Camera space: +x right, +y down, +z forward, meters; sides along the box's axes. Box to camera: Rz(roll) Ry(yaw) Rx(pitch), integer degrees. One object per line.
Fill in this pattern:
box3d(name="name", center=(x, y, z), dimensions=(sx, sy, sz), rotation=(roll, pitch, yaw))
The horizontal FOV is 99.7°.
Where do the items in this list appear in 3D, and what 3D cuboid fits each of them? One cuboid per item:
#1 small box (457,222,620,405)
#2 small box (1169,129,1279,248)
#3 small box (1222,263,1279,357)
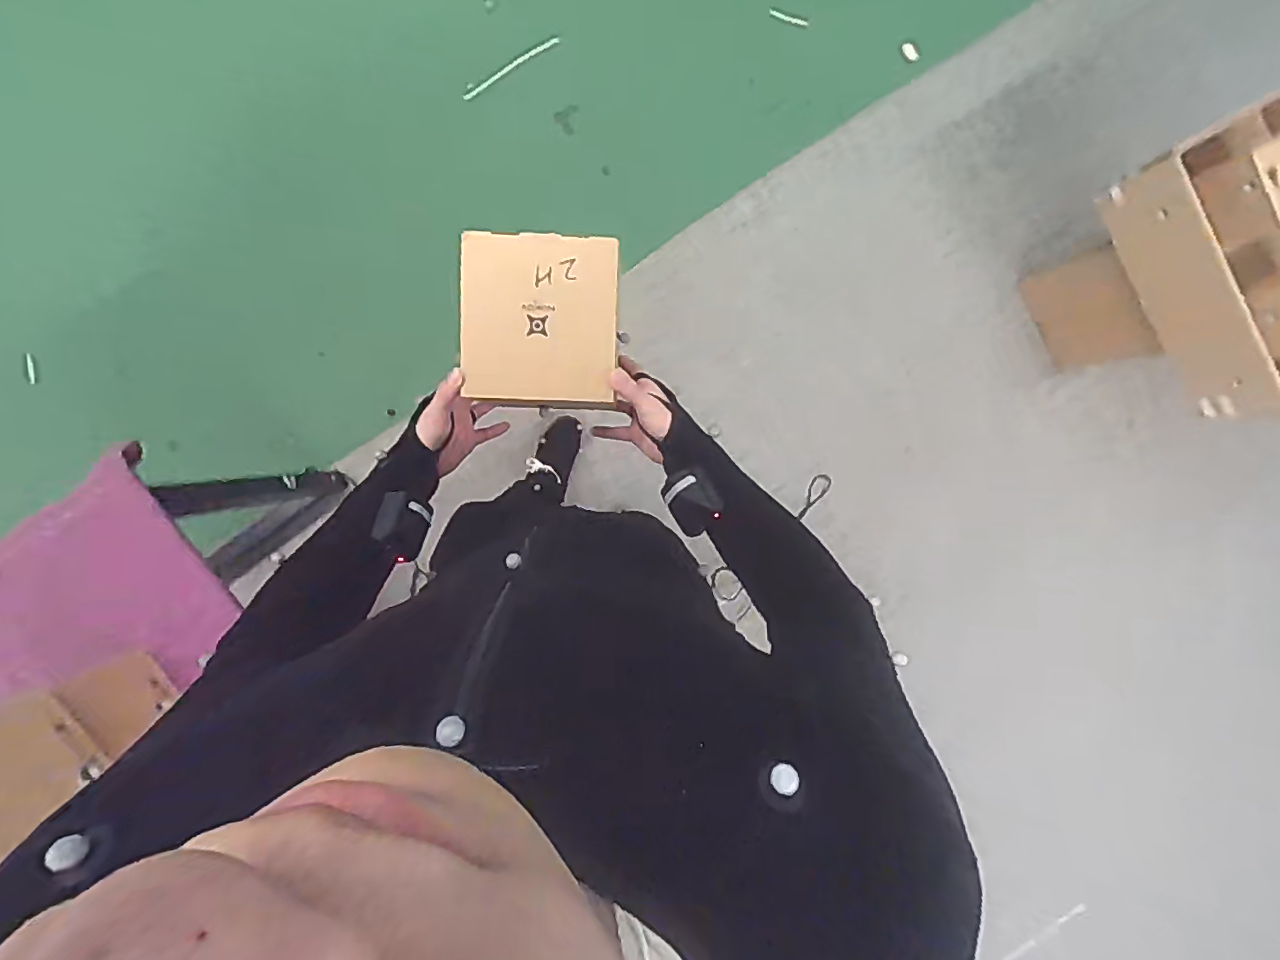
box3d(name="small box", center=(-0.111, -0.185, 0.651), dimensions=(0.168, 0.176, 0.179), rotation=(3, 94, -2))
box3d(name="small box", center=(1.311, -0.632, 1.155), dimensions=(0.179, 0.176, 0.168), rotation=(-27, 93, -1))
box3d(name="small box", center=(1.443, -0.387, 1.178), dimensions=(0.179, 0.176, 0.168), rotation=(-29, 94, -1))
